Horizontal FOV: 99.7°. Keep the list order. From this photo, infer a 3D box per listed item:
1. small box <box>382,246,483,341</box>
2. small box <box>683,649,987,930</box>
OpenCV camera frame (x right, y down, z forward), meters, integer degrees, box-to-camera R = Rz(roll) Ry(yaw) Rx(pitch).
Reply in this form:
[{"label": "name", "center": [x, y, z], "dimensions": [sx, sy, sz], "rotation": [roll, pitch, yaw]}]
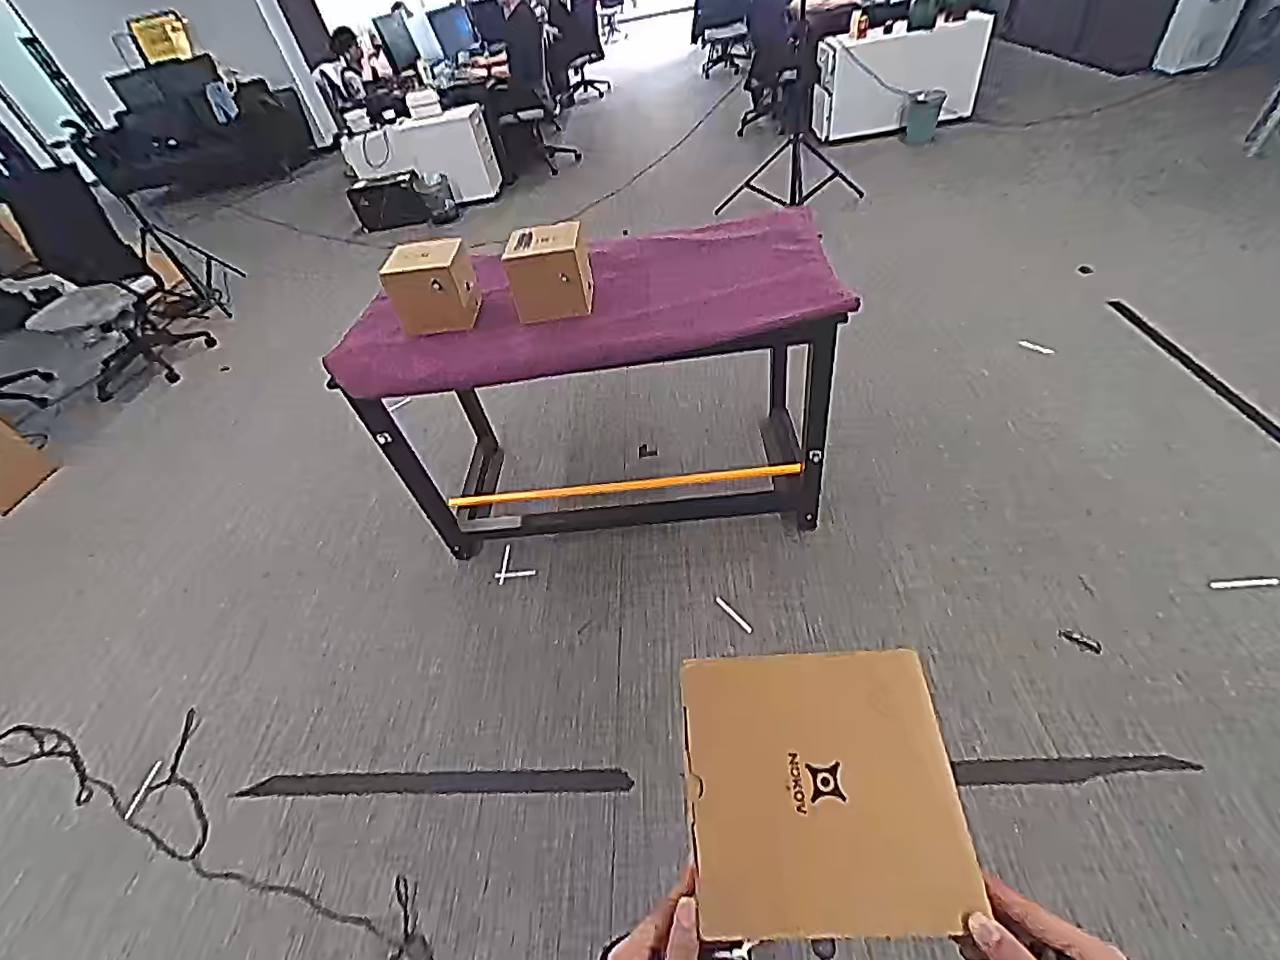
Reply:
[{"label": "small box", "center": [-0.517, -0.474, 1.382], "dimensions": [0.179, 0.176, 0.168], "rotation": [-6, 44, 3]}, {"label": "small box", "center": [0.129, 0.240, 0.436], "dimensions": [0.179, 0.176, 0.168], "rotation": [-5, 60, 5]}]
